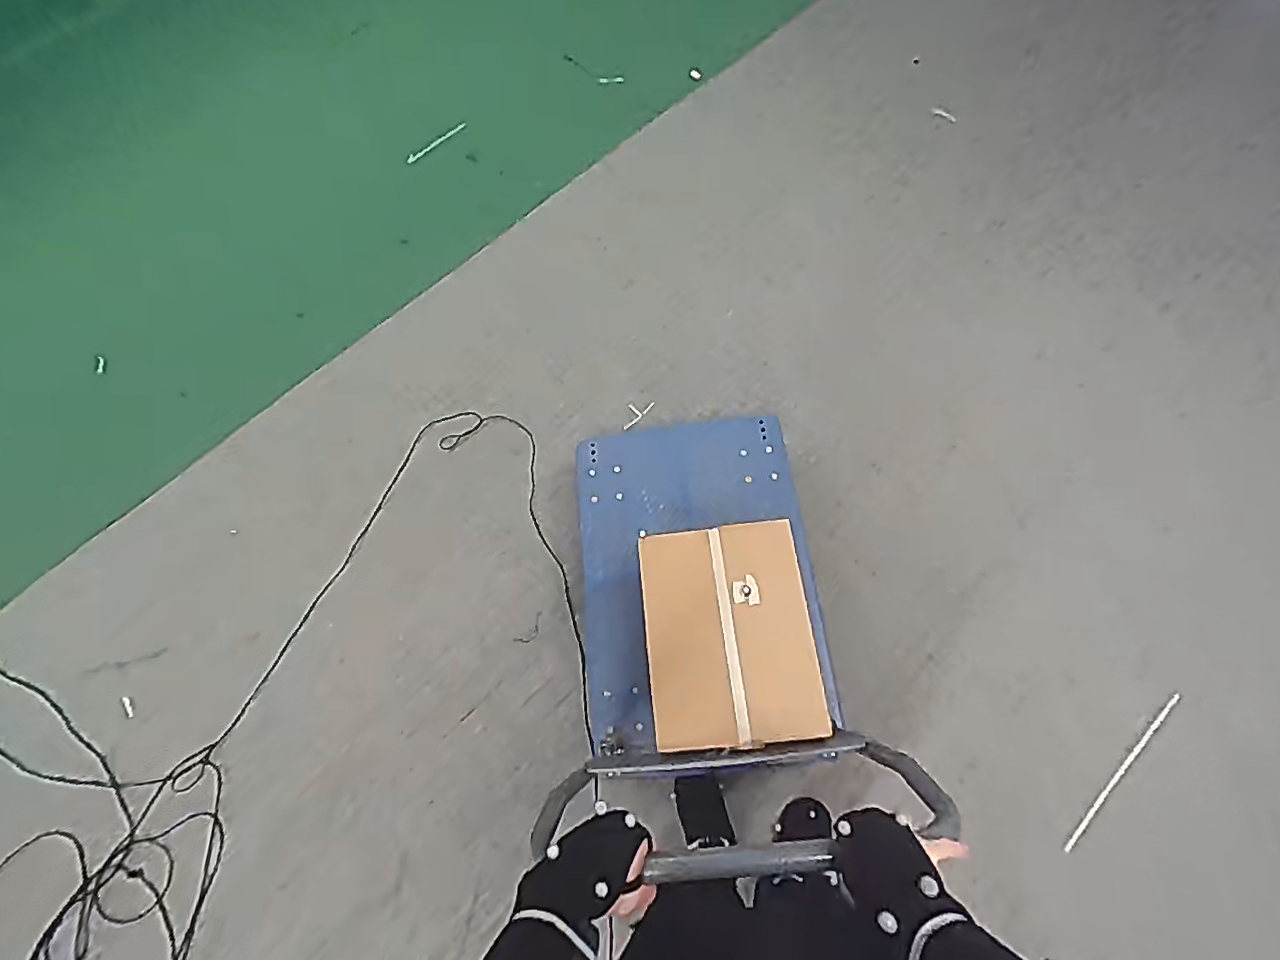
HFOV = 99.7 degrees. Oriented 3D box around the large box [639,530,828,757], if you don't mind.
[{"bbox_3d":[0.186,0.362,1.184,0.320,0.320,0.408,-7,66,4],"label":"large box"}]
